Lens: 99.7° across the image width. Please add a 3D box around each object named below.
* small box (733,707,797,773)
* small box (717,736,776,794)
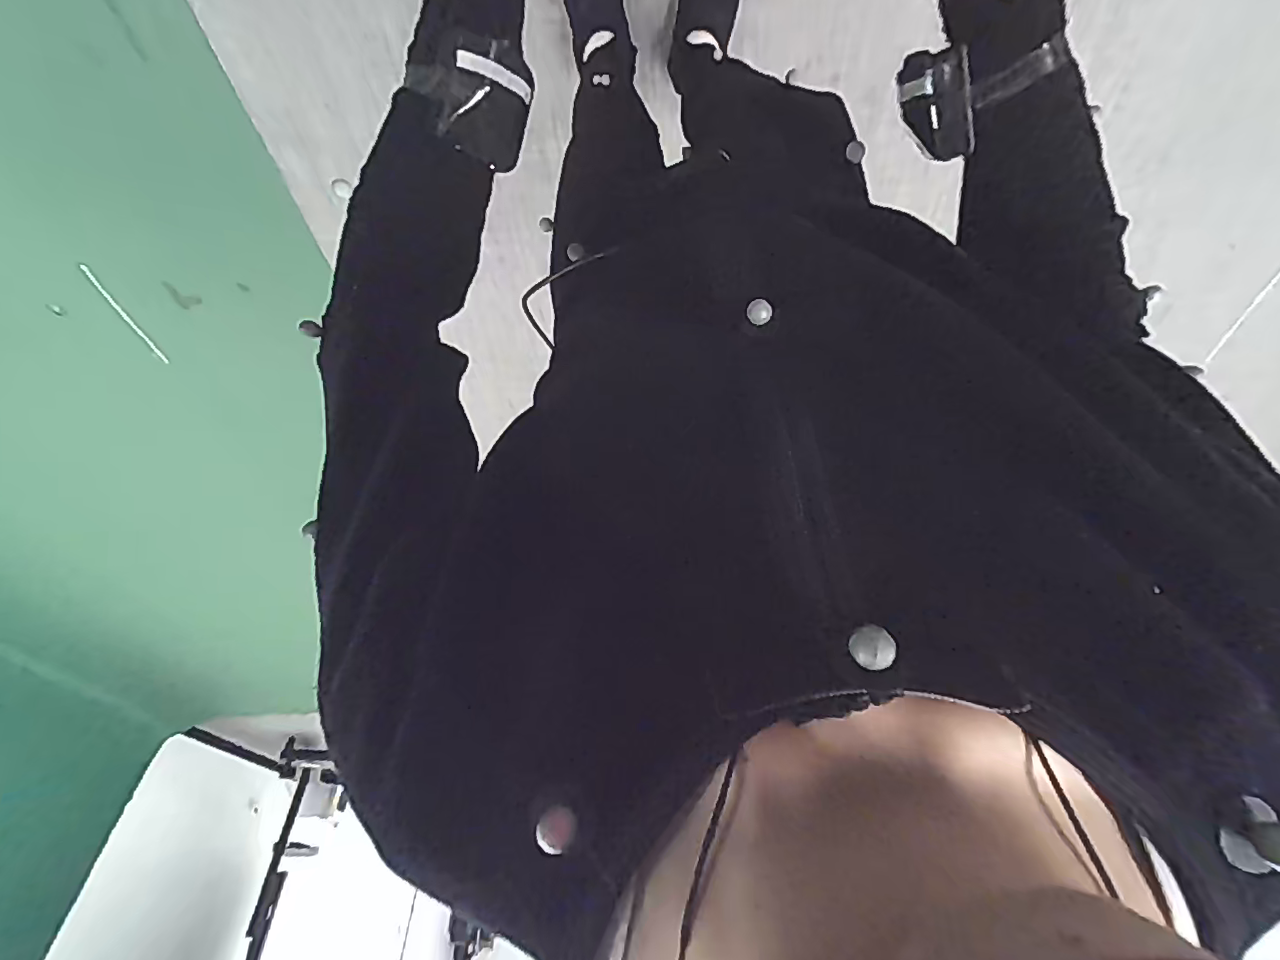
[{"bbox_3d":[0.423,0.897,1.866,0.168,0.176,0.179,4,139,-3],"label":"small box"},{"bbox_3d":[0.410,1.108,2.106,0.179,0.176,0.168,7,137,-6],"label":"small box"}]
